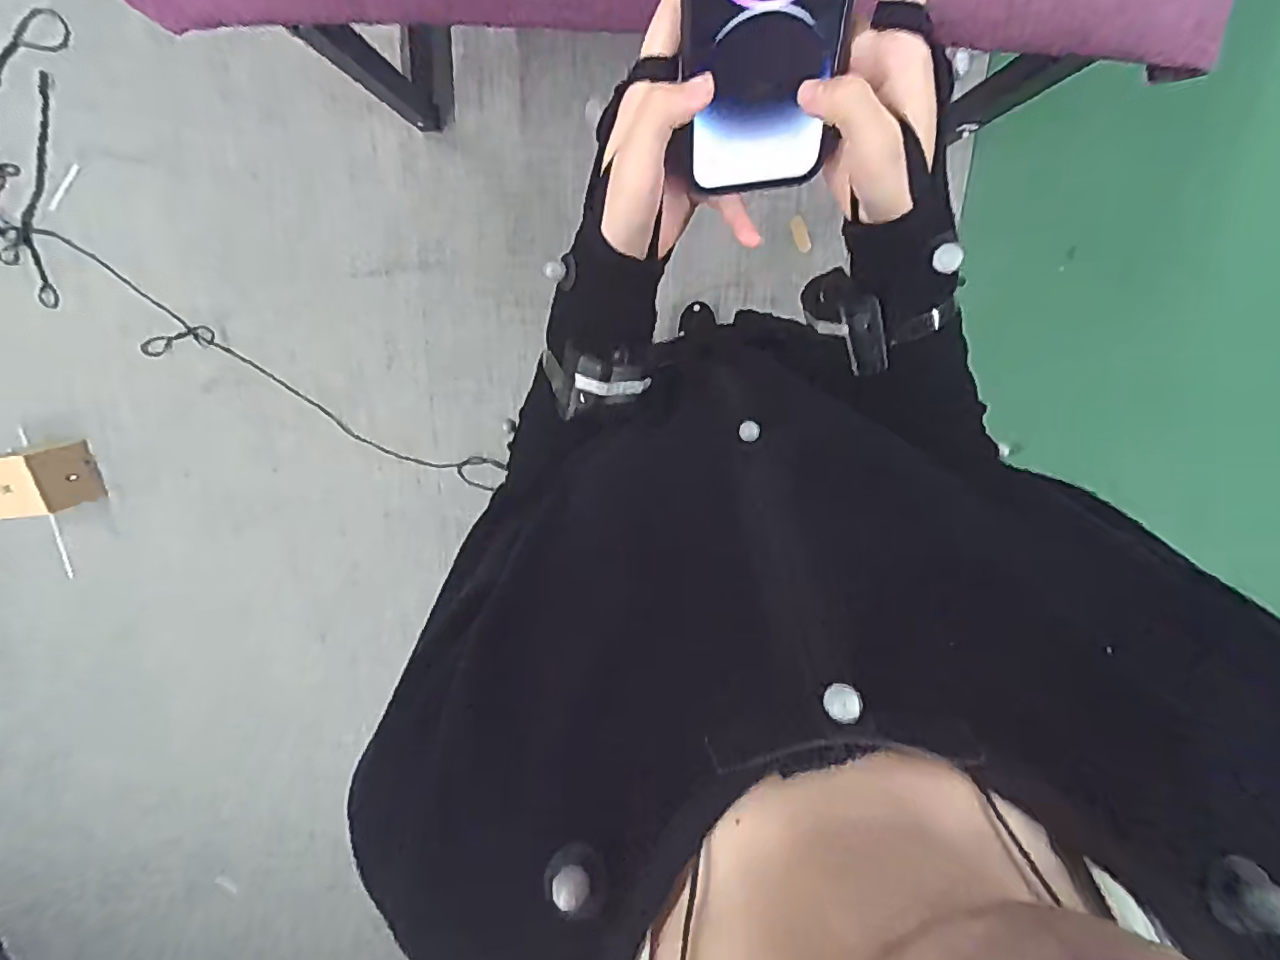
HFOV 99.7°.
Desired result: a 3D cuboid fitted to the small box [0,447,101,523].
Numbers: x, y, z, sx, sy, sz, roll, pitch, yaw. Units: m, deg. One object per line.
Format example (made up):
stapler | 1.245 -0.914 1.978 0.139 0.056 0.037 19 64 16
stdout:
small box | -1.653 0.009 1.489 0.179 0.176 0.168 -4 107 3
